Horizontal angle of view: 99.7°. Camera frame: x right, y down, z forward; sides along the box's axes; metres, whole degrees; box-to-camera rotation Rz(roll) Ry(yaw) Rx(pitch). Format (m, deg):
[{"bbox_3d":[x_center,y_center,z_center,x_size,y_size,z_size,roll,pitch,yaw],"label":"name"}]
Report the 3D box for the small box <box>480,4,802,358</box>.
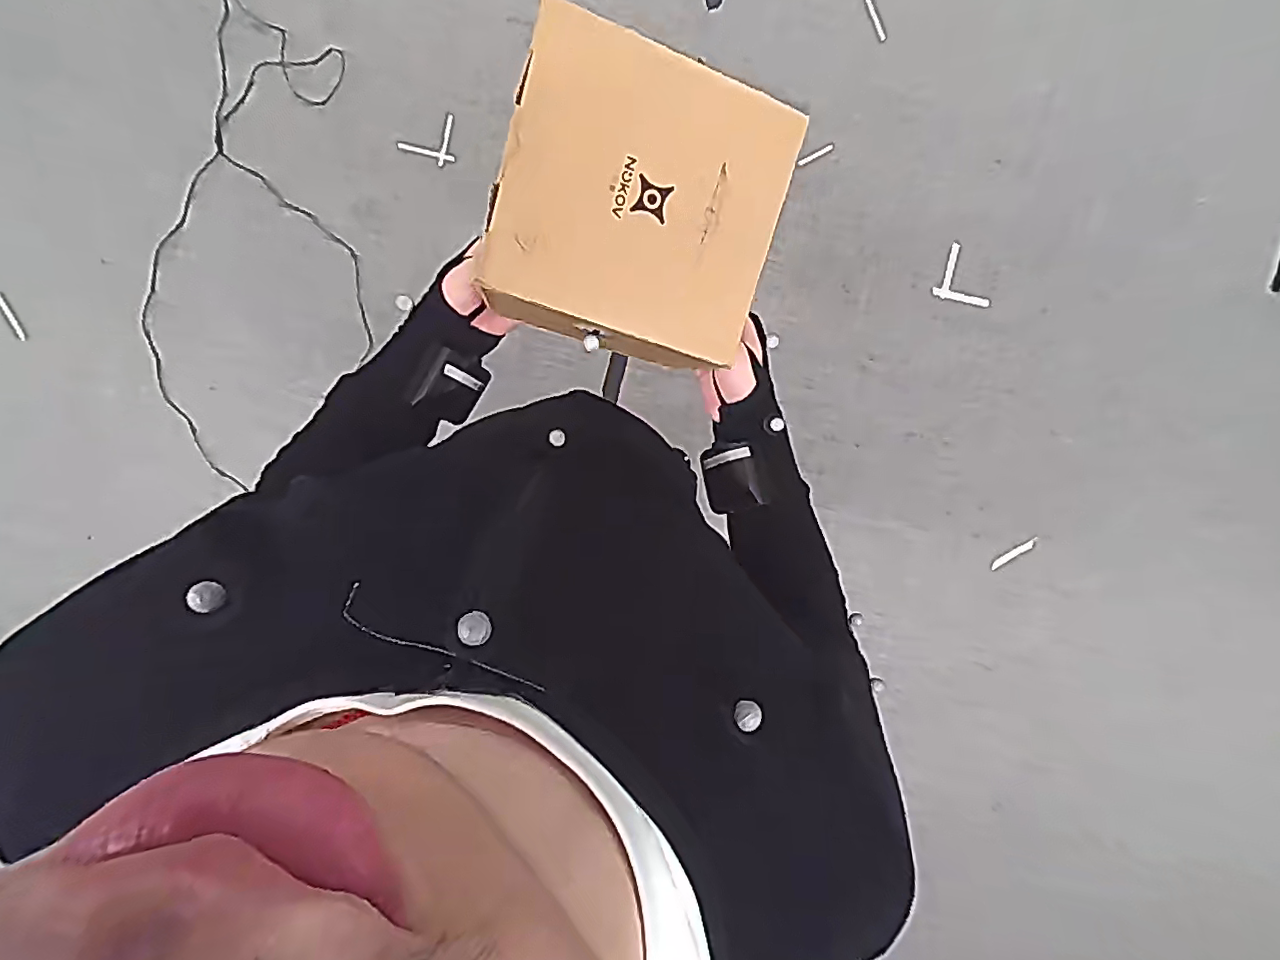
[{"bbox_3d":[-0.012,-0.197,0.422,0.179,0.176,0.168,15,99,-15],"label":"small box"}]
